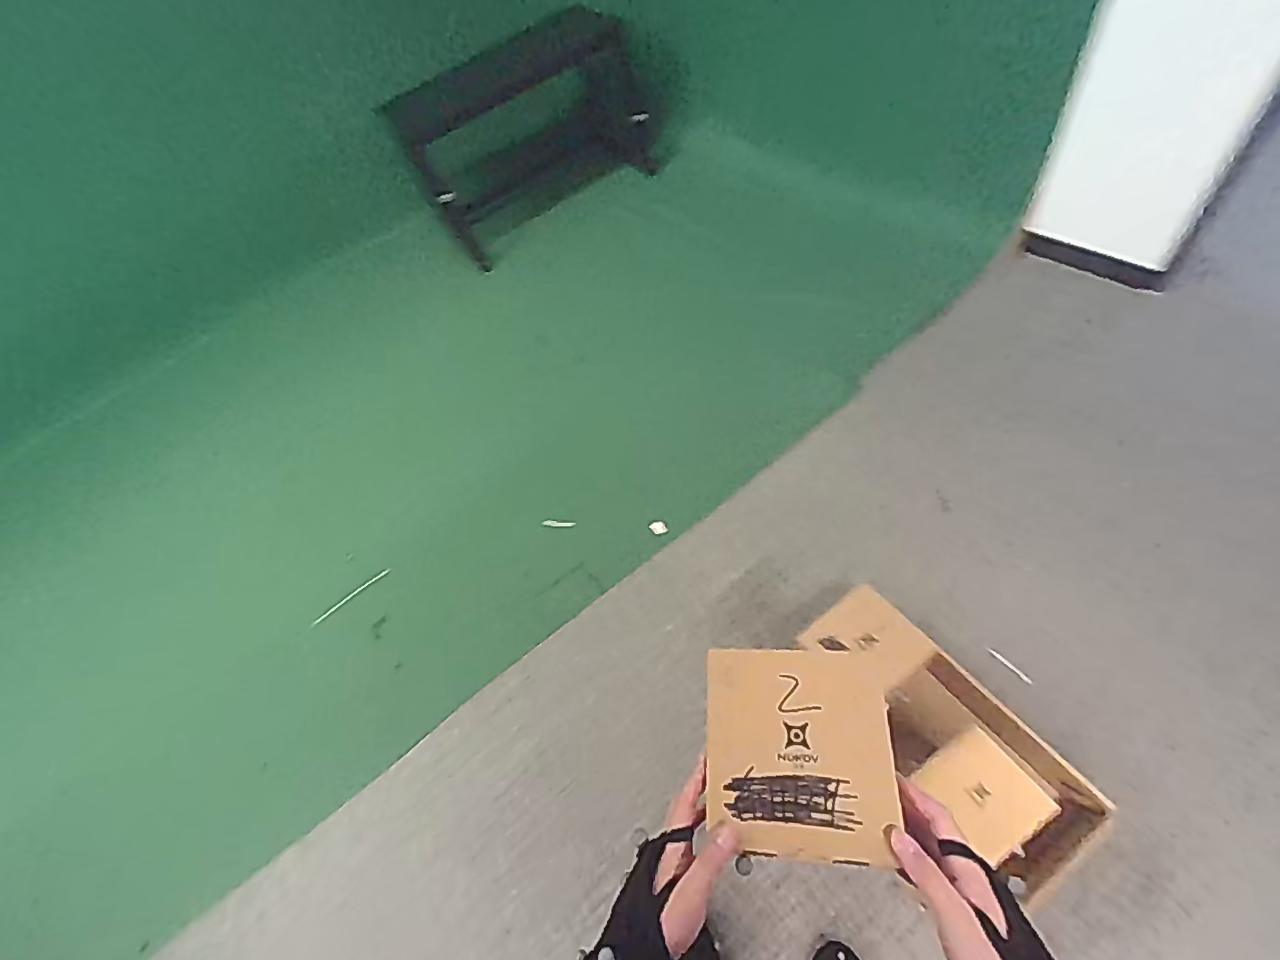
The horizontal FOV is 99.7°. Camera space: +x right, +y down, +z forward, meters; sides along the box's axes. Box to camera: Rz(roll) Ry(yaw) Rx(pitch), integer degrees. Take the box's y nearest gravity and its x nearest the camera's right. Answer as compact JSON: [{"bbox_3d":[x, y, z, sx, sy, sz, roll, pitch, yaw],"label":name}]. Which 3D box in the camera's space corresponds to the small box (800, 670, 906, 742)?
[{"bbox_3d":[0.503,0.503,1.308,0.179,0.176,0.168,-33,54,-8],"label":"small box"}]

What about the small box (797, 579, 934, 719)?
[{"bbox_3d":[0.424,0.331,1.042,0.179,0.176,0.168,-35,55,-9],"label":"small box"}]

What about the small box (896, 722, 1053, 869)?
[{"bbox_3d":[0.612,0.592,1.019,0.179,0.176,0.168,-35,55,-7],"label":"small box"}]

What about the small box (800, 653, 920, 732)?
[{"bbox_3d":[0.465,0.417,1.176,0.179,0.176,0.168,-34,56,-8],"label":"small box"}]
